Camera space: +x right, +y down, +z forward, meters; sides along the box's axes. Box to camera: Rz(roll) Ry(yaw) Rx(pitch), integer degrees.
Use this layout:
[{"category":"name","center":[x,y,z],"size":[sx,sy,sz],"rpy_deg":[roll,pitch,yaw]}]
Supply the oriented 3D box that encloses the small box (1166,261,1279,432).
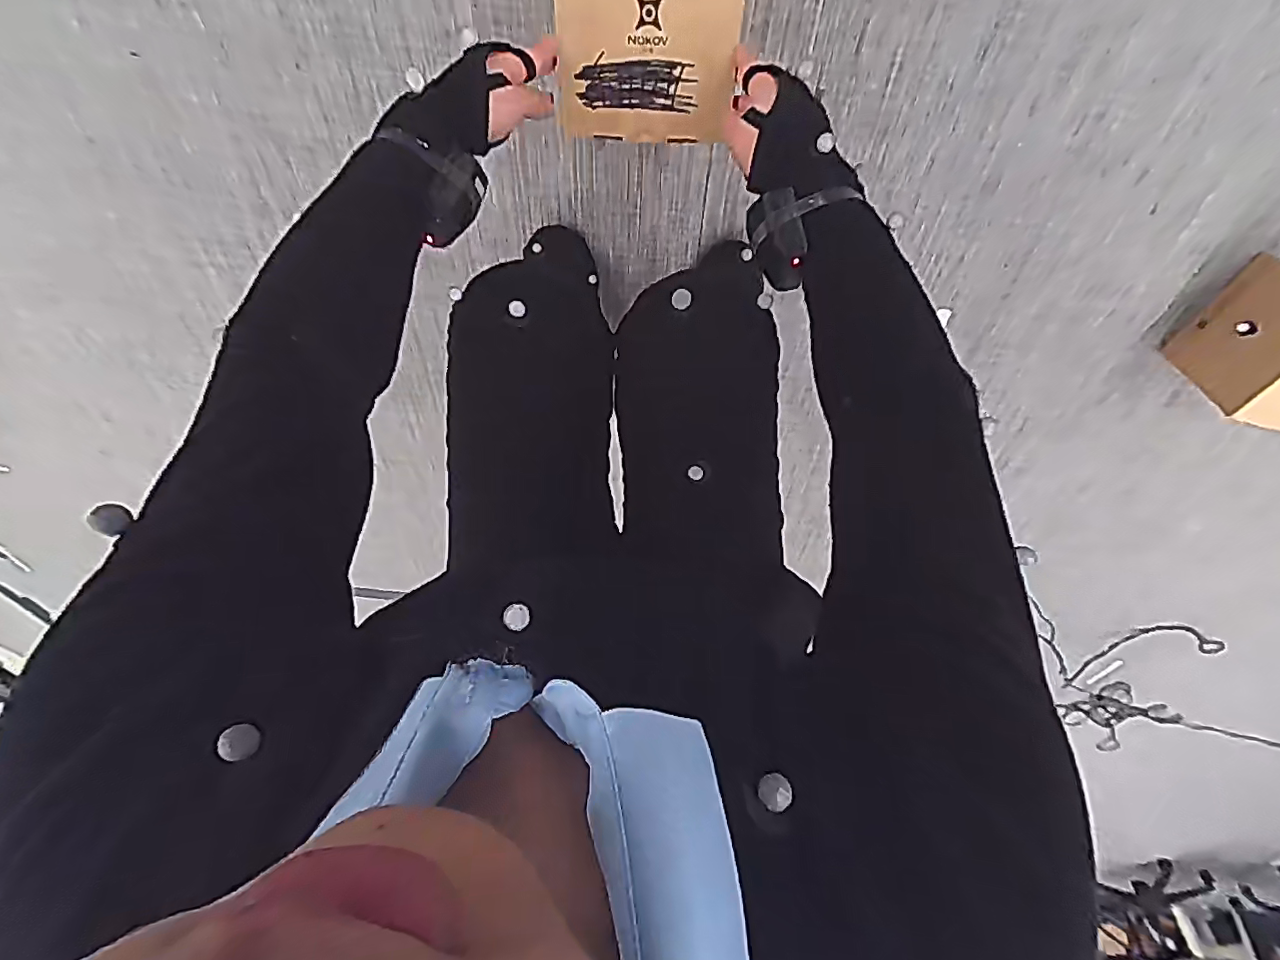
[{"category":"small box","center":[0.897,-0.176,0.733],"size":[0.179,0.176,0.168],"rpy_deg":[12,135,-5]}]
